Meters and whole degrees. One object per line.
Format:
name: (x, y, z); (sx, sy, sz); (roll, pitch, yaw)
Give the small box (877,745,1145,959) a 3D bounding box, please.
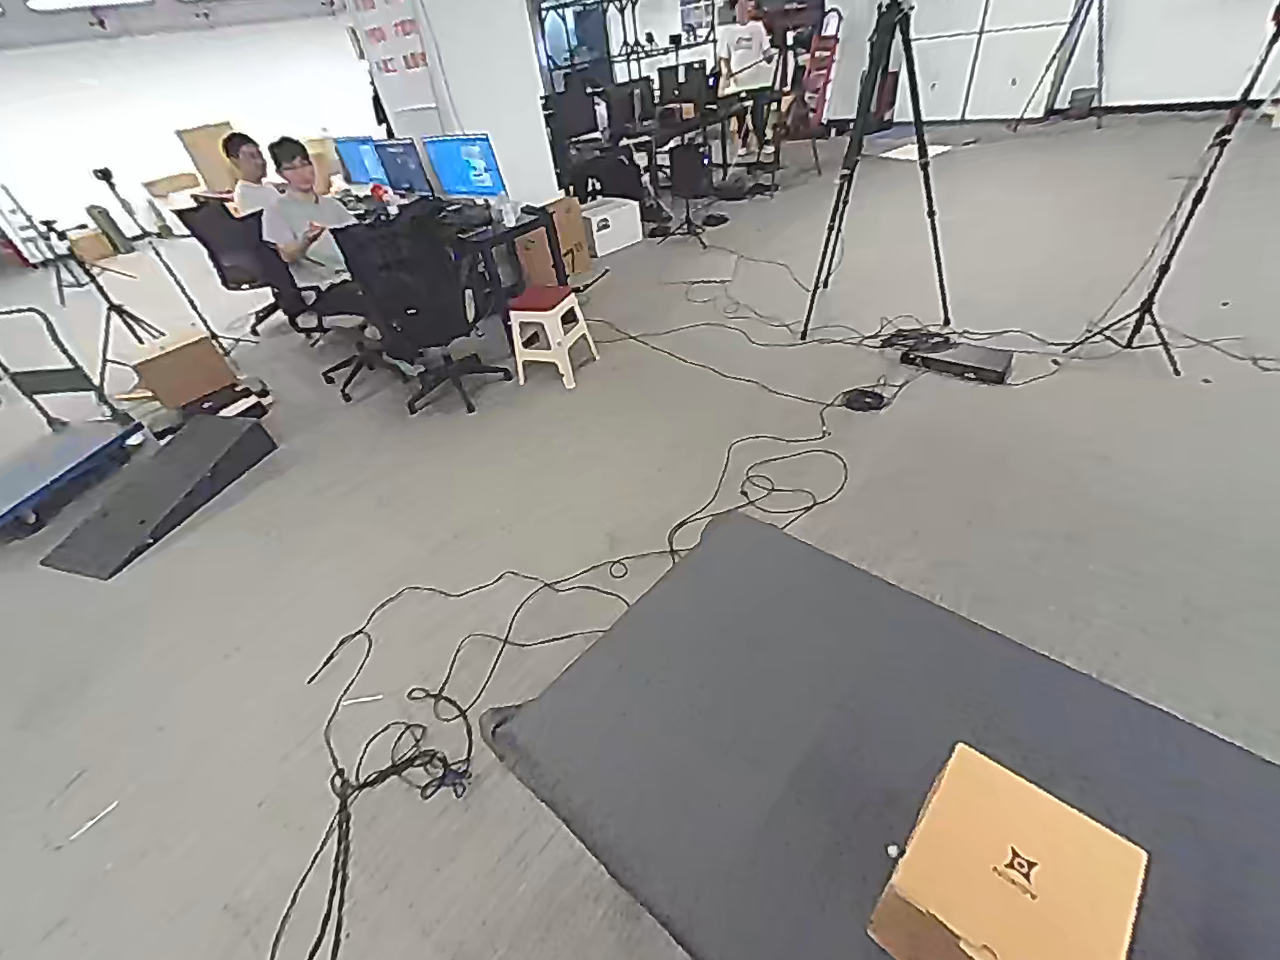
small box: (0.364, 0.425, 0.555); (0.168, 0.176, 0.179); (26, 51, 35)
